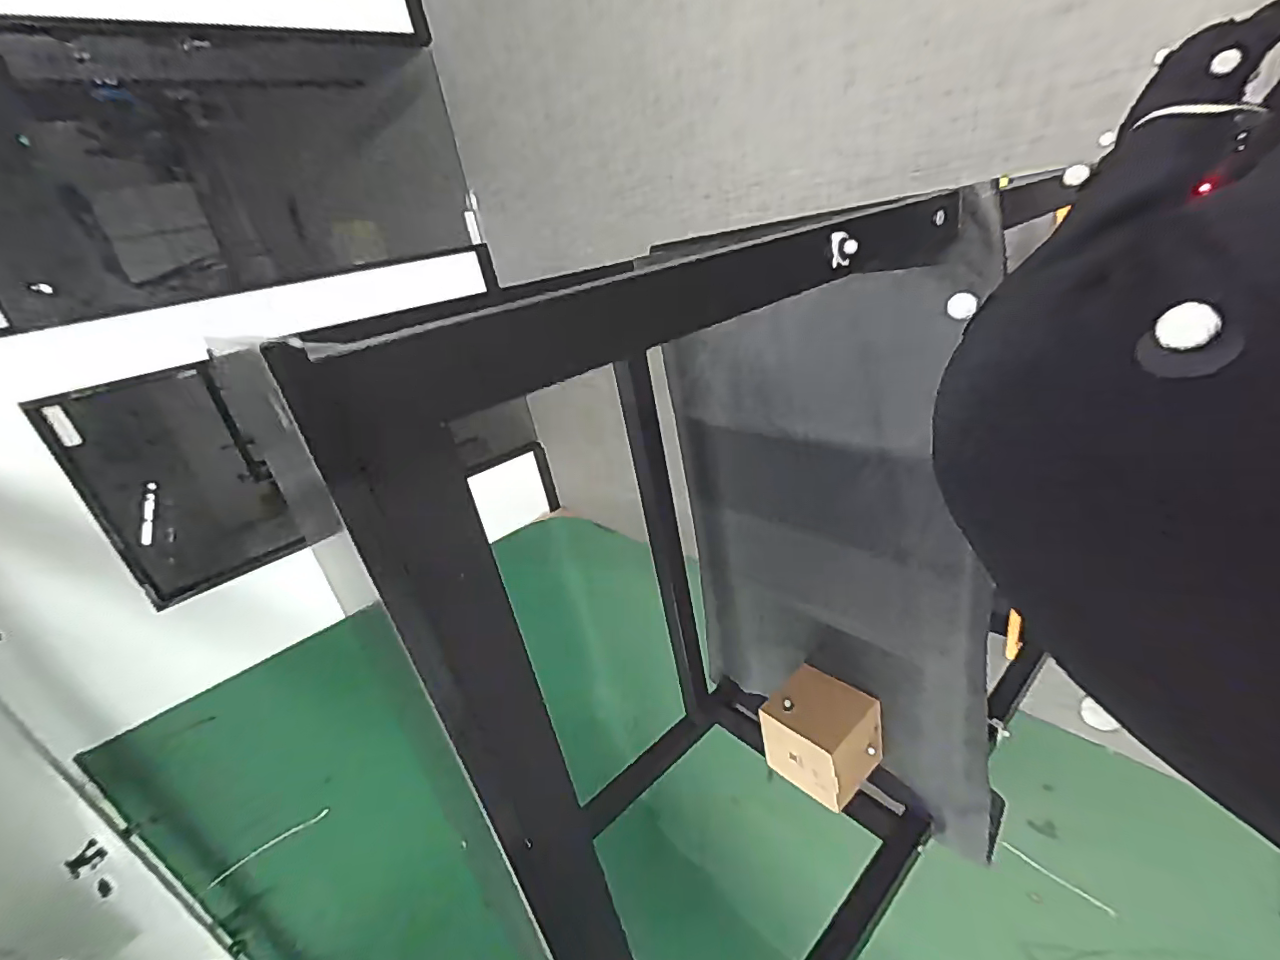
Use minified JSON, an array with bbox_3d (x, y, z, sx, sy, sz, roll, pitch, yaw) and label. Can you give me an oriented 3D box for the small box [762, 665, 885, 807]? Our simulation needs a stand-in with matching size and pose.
[{"bbox_3d":[0.383,0.516,1.123,0.179,0.176,0.168,15,126,50],"label":"small box"}]
